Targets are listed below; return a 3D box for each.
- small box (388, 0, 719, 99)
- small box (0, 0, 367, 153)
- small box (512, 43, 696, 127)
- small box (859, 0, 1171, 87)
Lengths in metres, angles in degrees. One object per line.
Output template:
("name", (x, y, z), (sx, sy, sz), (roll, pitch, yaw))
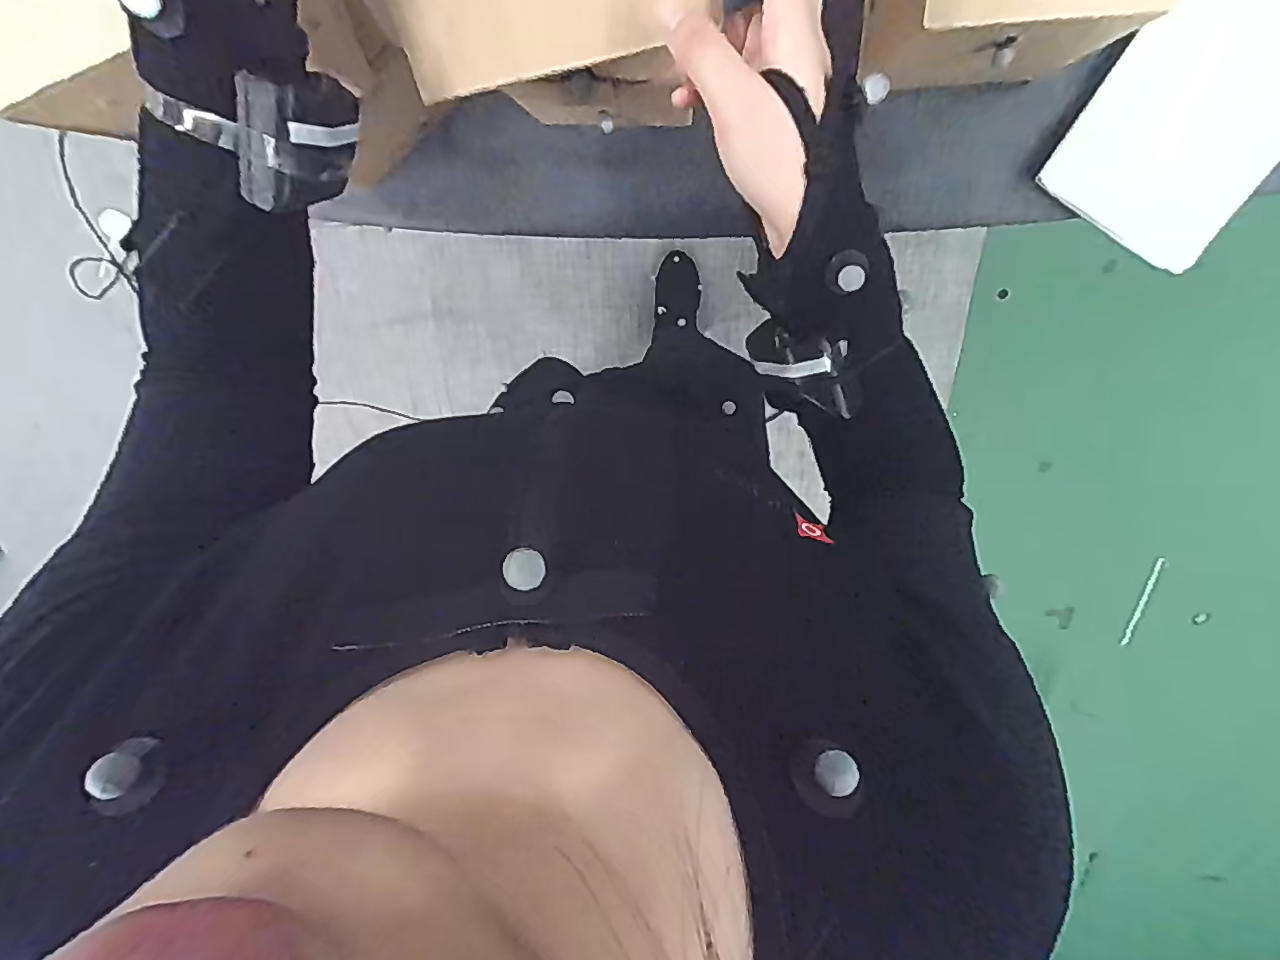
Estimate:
("small box", (-0.051, -0.335, 0.297), (0.168, 0.176, 0.179), (-7, 129, 10))
("small box", (-0.332, -0.345, 0.365), (0.179, 0.176, 0.168), (-12, 112, 13))
("small box", (-0.034, -0.431, 0.474), (0.168, 0.176, 0.179), (4, 114, 6))
("small box", (0.295, -0.439, 0.433), (0.179, 0.176, 0.168), (0, 113, 7))
